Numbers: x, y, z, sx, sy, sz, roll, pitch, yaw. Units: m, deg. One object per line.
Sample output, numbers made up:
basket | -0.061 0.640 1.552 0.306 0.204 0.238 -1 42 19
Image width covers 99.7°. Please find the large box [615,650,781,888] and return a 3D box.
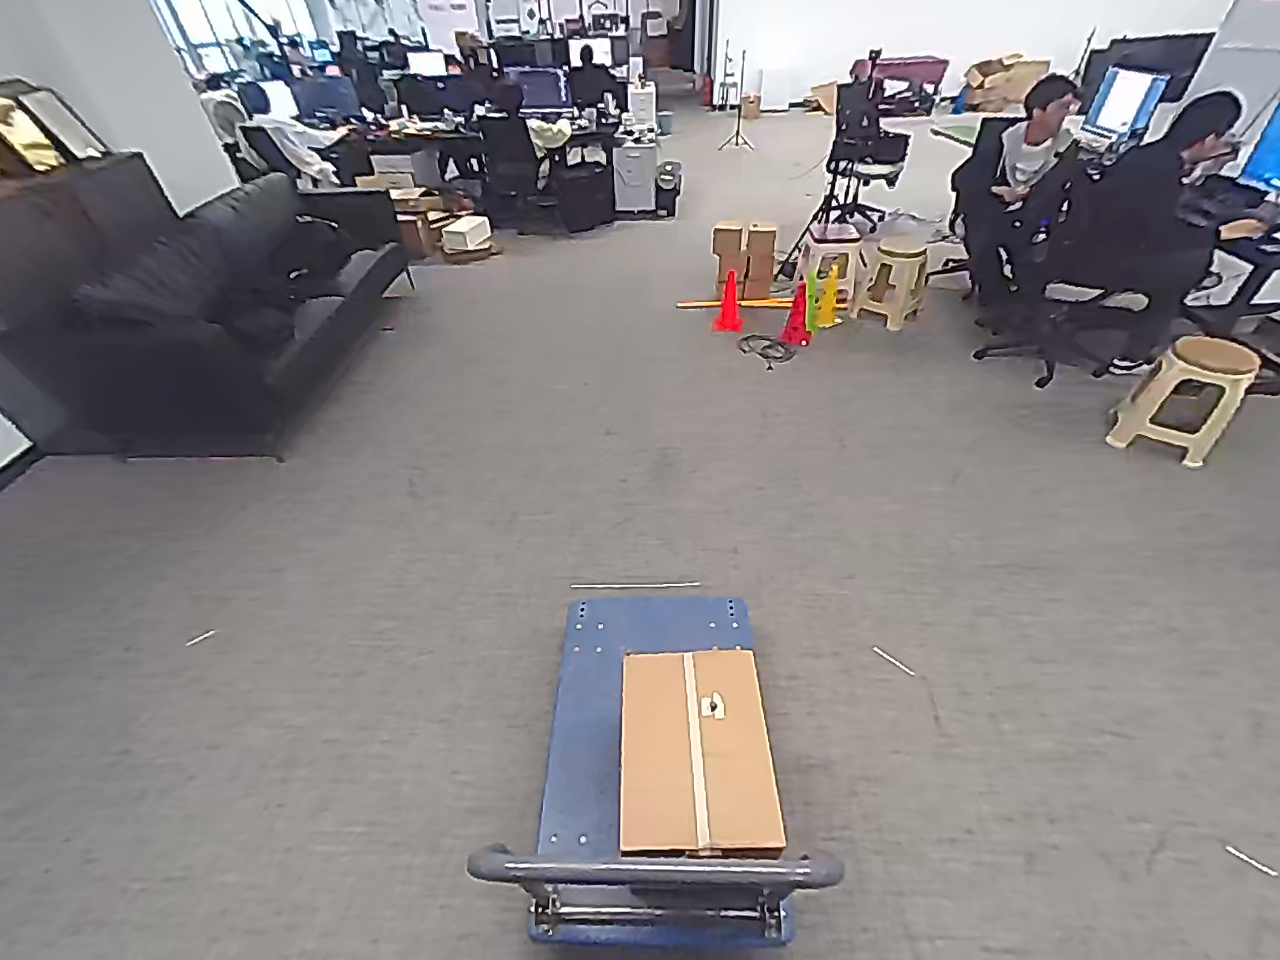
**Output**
large box | 0.112 0.657 1.245 0.320 0.320 0.408 -1 42 1
